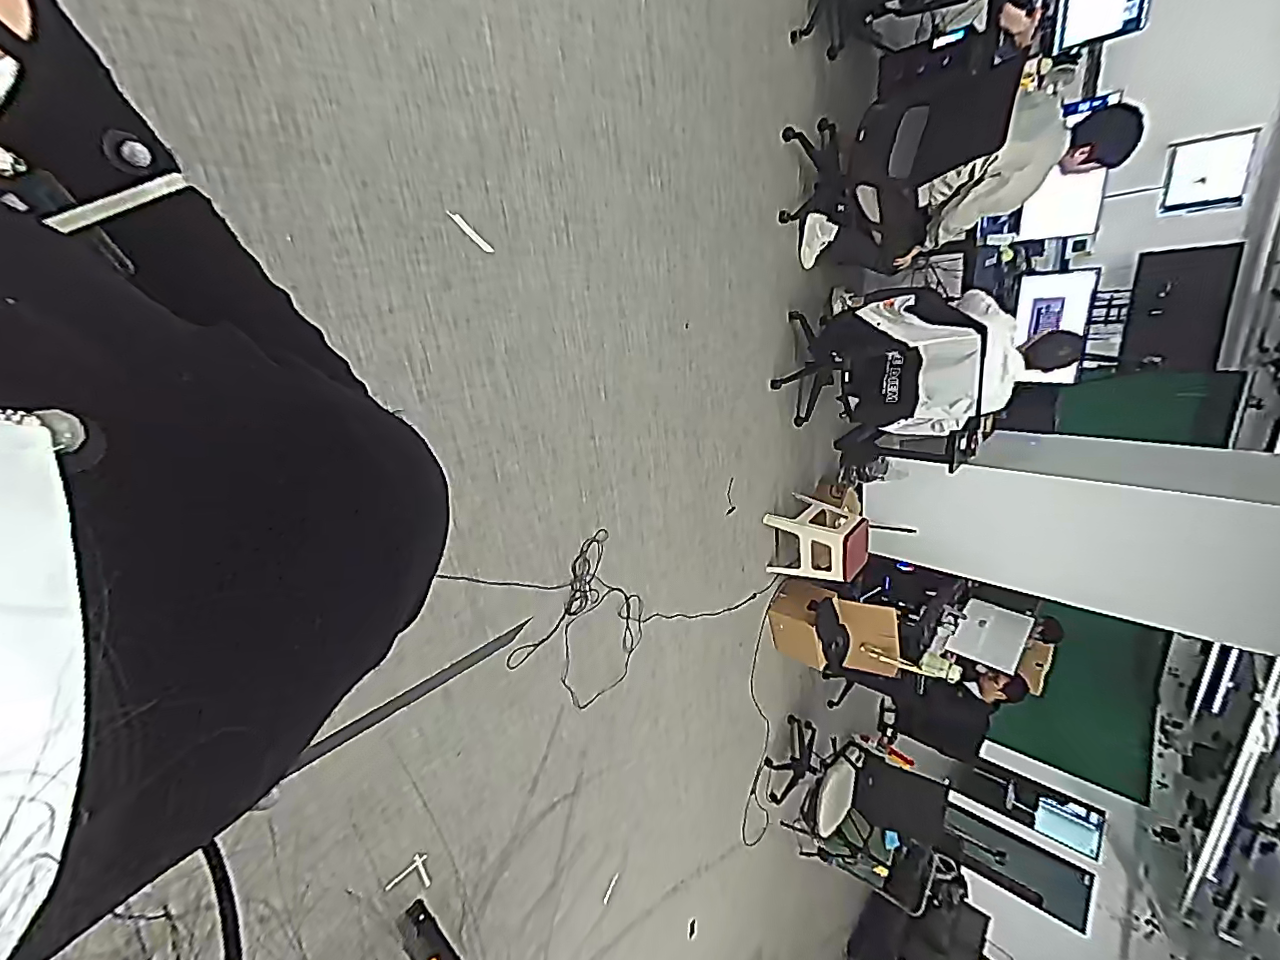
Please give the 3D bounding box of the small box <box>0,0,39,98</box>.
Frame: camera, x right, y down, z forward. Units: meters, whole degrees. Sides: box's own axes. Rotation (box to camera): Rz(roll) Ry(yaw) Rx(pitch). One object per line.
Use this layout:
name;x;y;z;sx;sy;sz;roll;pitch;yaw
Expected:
small box;-0.633;-0.438;0.425;0.168;0.176;0.179;-27;119;-44
